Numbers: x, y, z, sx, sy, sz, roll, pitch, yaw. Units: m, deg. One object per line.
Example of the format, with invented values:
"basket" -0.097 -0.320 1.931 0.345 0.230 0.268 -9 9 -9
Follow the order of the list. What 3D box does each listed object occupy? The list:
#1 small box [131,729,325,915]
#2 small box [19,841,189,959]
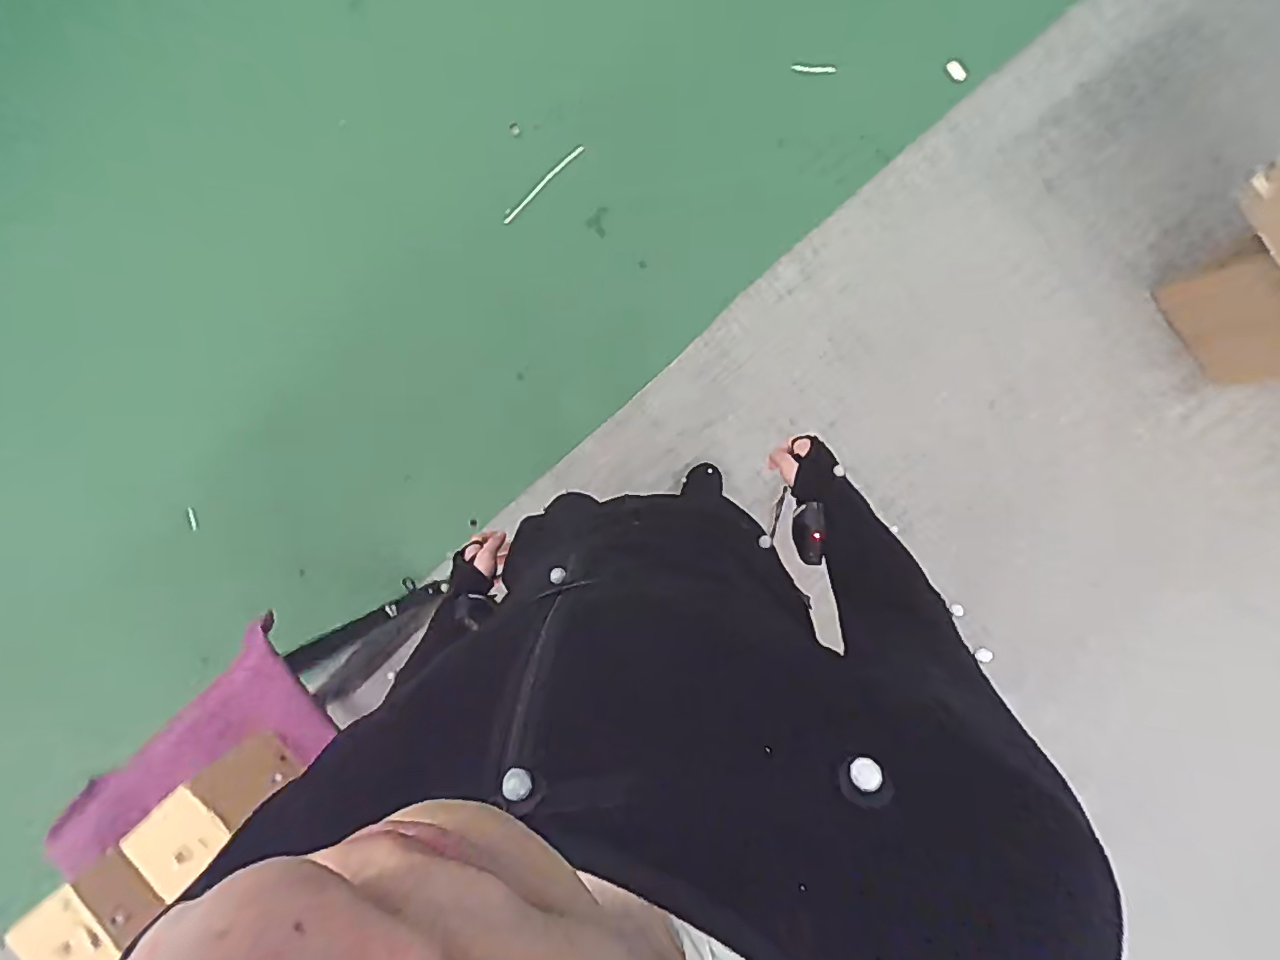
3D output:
"small box" -0.702 0.583 0.943 0.179 0.176 0.168 -42 91 8
"small box" -0.938 0.773 0.989 0.179 0.176 0.168 -40 90 8
